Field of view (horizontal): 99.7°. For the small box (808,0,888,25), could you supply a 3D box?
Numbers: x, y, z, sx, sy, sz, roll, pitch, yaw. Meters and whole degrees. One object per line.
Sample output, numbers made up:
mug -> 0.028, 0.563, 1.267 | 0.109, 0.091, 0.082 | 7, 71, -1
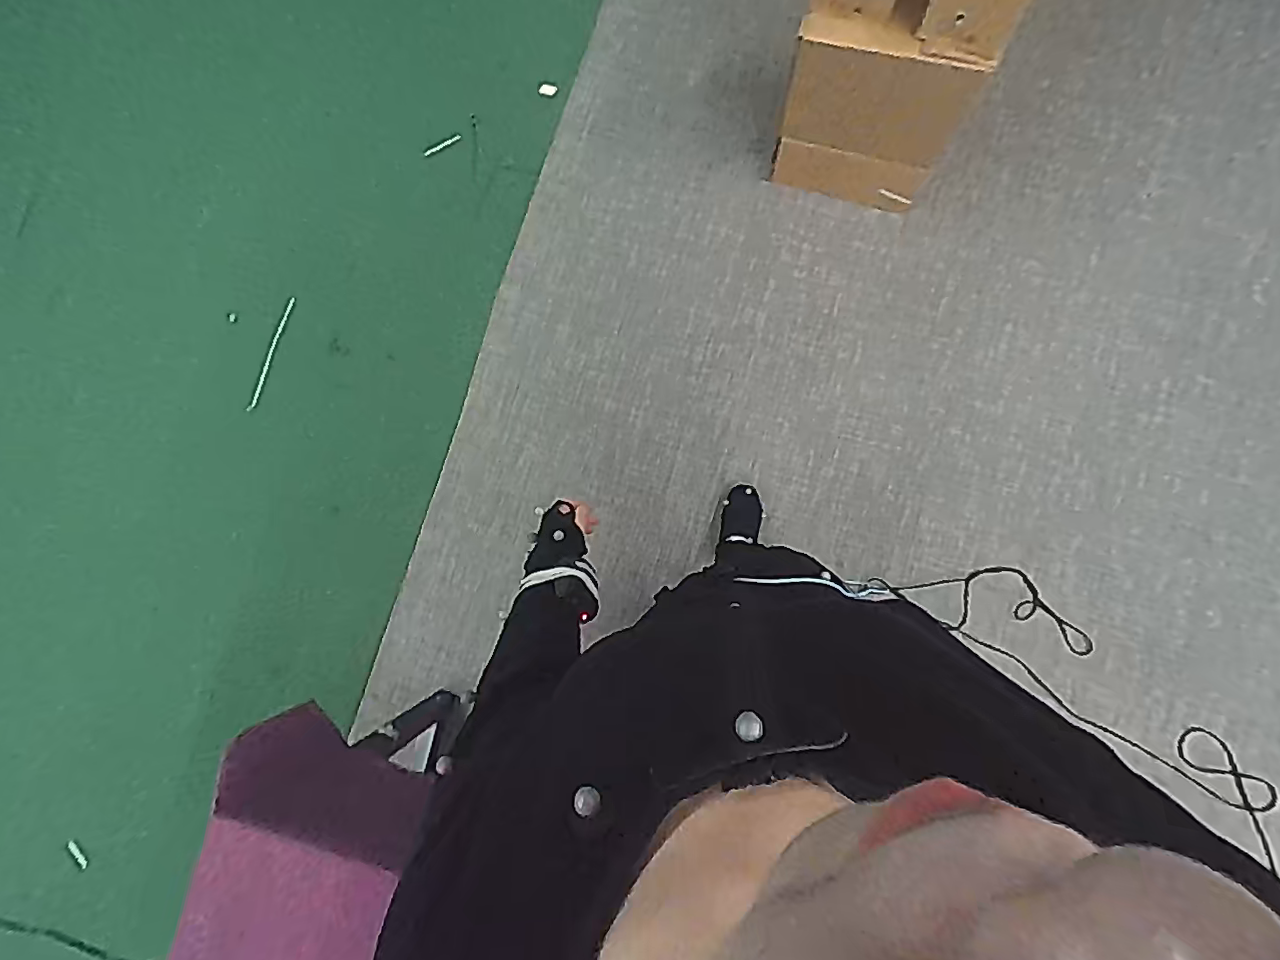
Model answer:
small box -> 0.441, -1.054, 1.062 | 0.168, 0.176, 0.179 | 18, 87, 5

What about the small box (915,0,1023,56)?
small box -> 0.657, -0.972, 1.029 | 0.168, 0.176, 0.179 | 23, 87, 9
